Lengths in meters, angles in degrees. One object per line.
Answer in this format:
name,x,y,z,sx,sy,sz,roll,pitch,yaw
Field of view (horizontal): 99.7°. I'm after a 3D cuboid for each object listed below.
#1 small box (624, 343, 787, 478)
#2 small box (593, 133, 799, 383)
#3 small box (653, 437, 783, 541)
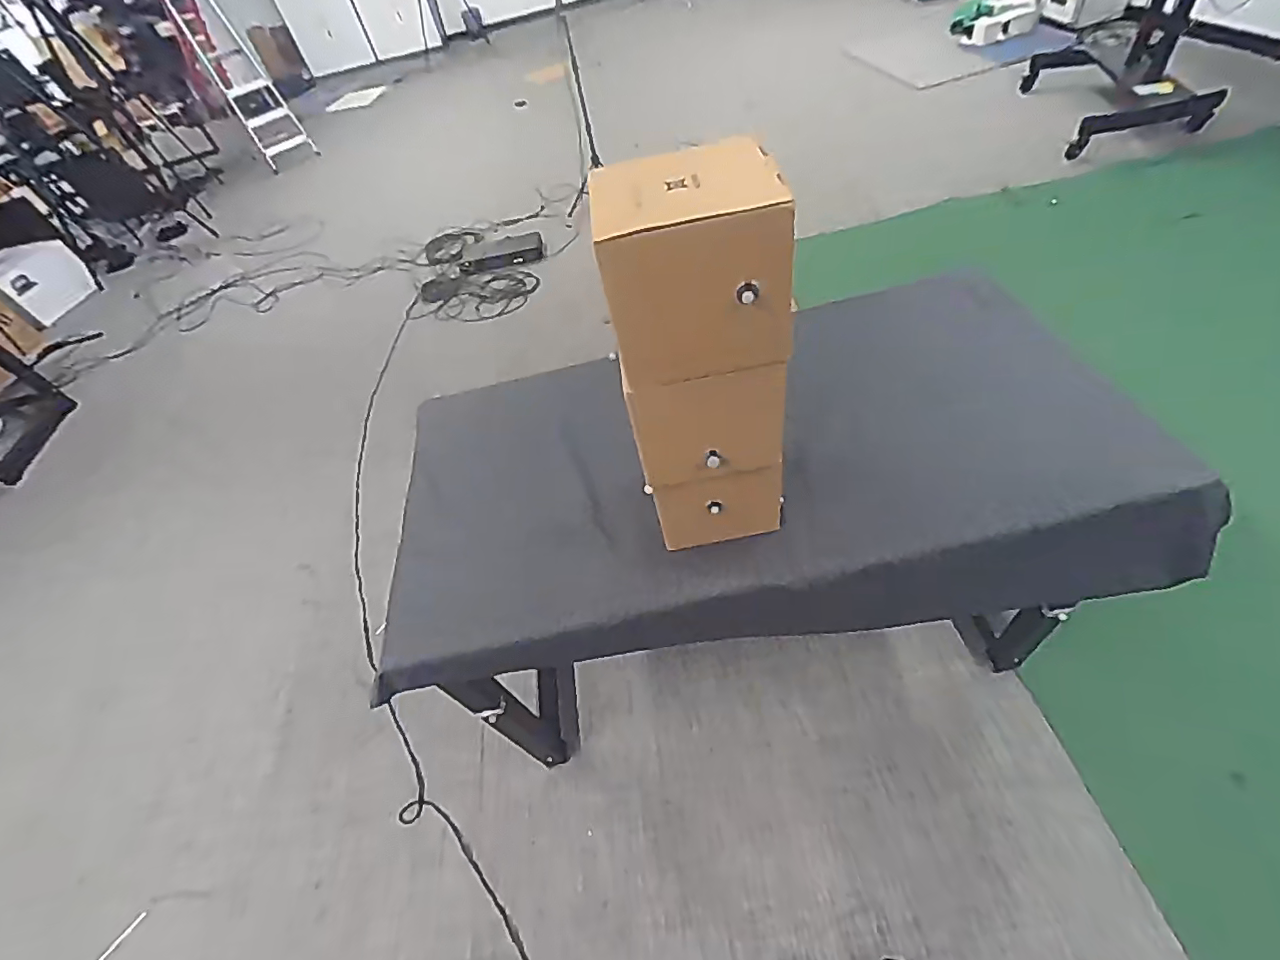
small box,0.077,-0.124,0.693,0.179,0.176,0.168,-10,49,3
small box,0.056,-0.227,0.568,0.179,0.176,0.168,-11,48,5
small box,0.108,-0.029,0.822,0.179,0.176,0.168,-12,49,4
